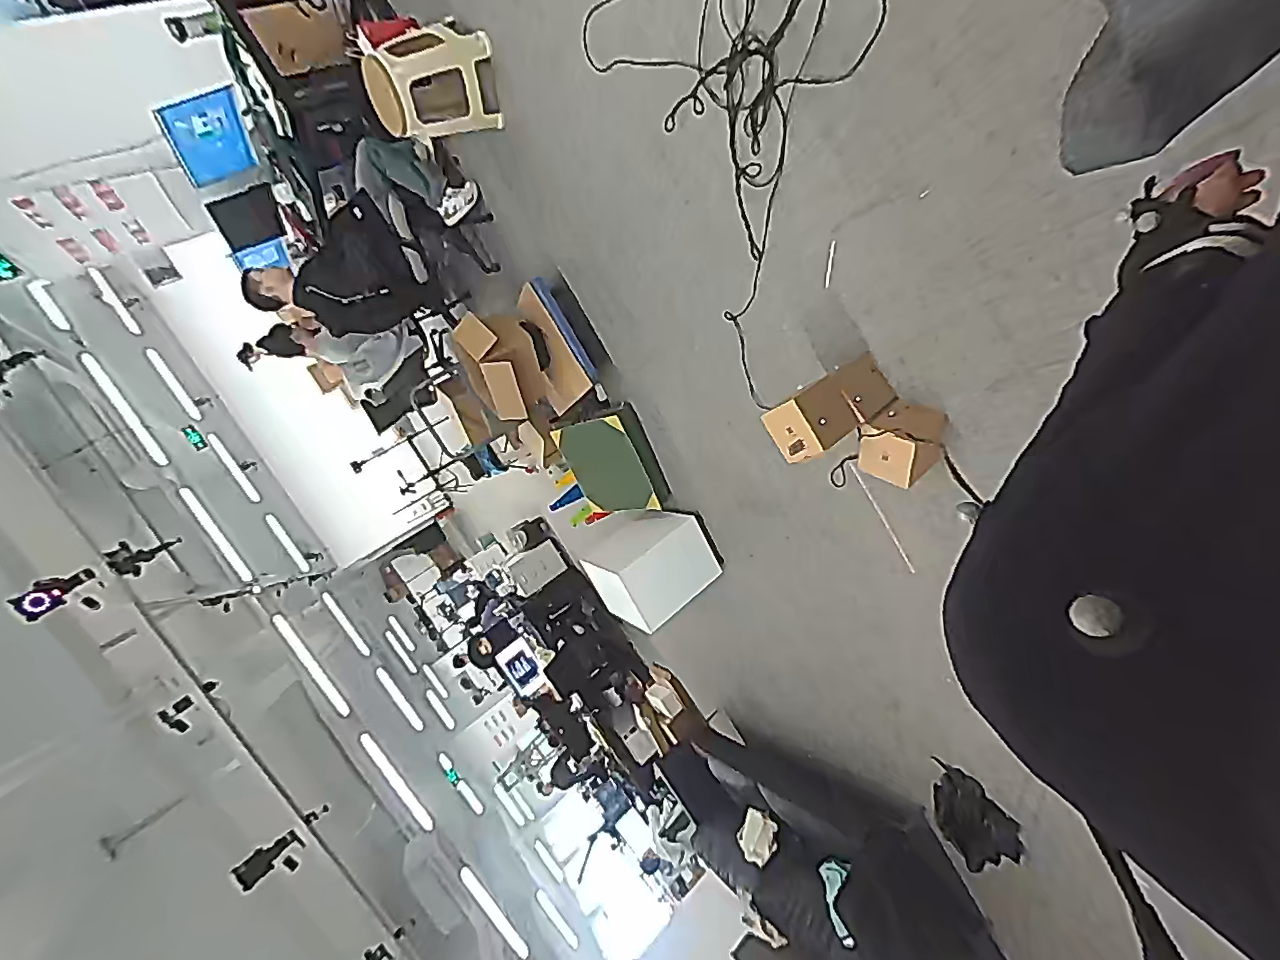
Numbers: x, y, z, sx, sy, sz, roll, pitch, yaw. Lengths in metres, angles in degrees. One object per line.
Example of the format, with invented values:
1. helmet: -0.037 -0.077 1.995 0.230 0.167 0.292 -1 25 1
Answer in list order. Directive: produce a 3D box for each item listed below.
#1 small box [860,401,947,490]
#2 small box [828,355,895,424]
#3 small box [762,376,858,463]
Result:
1. small box: 0.779 -0.109 1.599 0.168 0.176 0.179 33 149 42
2. small box: 0.639 -0.255 1.666 0.168 0.176 0.179 56 156 2
3. small box: 0.507 -0.178 1.604 0.179 0.176 0.168 58 156 -2
